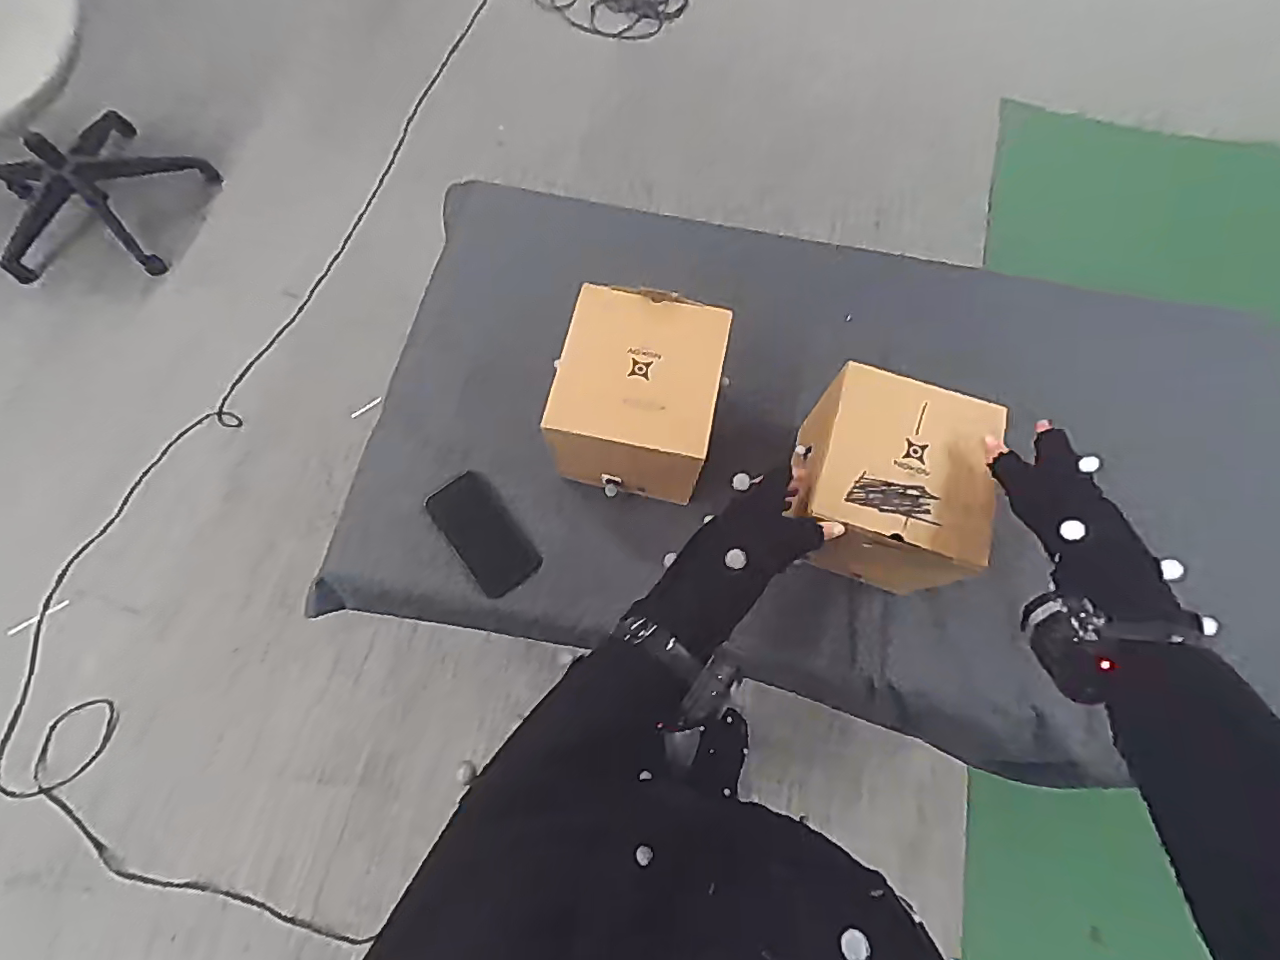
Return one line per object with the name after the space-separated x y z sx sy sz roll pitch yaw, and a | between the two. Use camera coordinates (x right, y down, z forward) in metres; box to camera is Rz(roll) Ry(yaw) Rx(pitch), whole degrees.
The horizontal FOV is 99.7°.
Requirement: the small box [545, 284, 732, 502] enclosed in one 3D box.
0.001 -0.091 0.627 0.168 0.176 0.179 11 73 4 | small box

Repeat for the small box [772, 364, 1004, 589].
0.258 0.008 0.599 0.168 0.176 0.179 19 71 5 | small box
